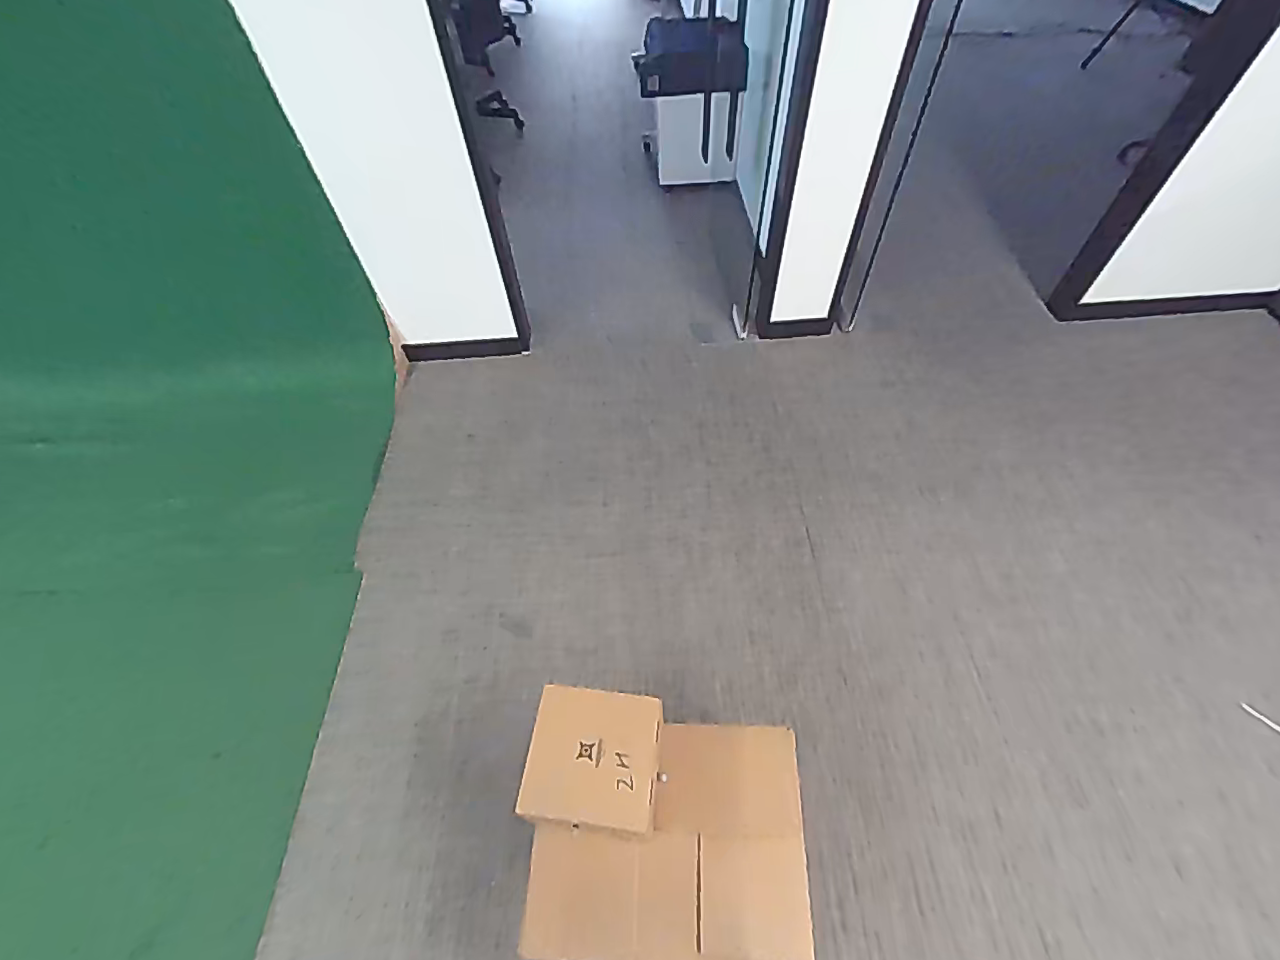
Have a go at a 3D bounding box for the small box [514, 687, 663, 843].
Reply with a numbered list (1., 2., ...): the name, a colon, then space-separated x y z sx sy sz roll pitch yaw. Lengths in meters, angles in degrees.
1. small box: -0.063 0.421 0.794 0.179 0.176 0.168 5 53 6
